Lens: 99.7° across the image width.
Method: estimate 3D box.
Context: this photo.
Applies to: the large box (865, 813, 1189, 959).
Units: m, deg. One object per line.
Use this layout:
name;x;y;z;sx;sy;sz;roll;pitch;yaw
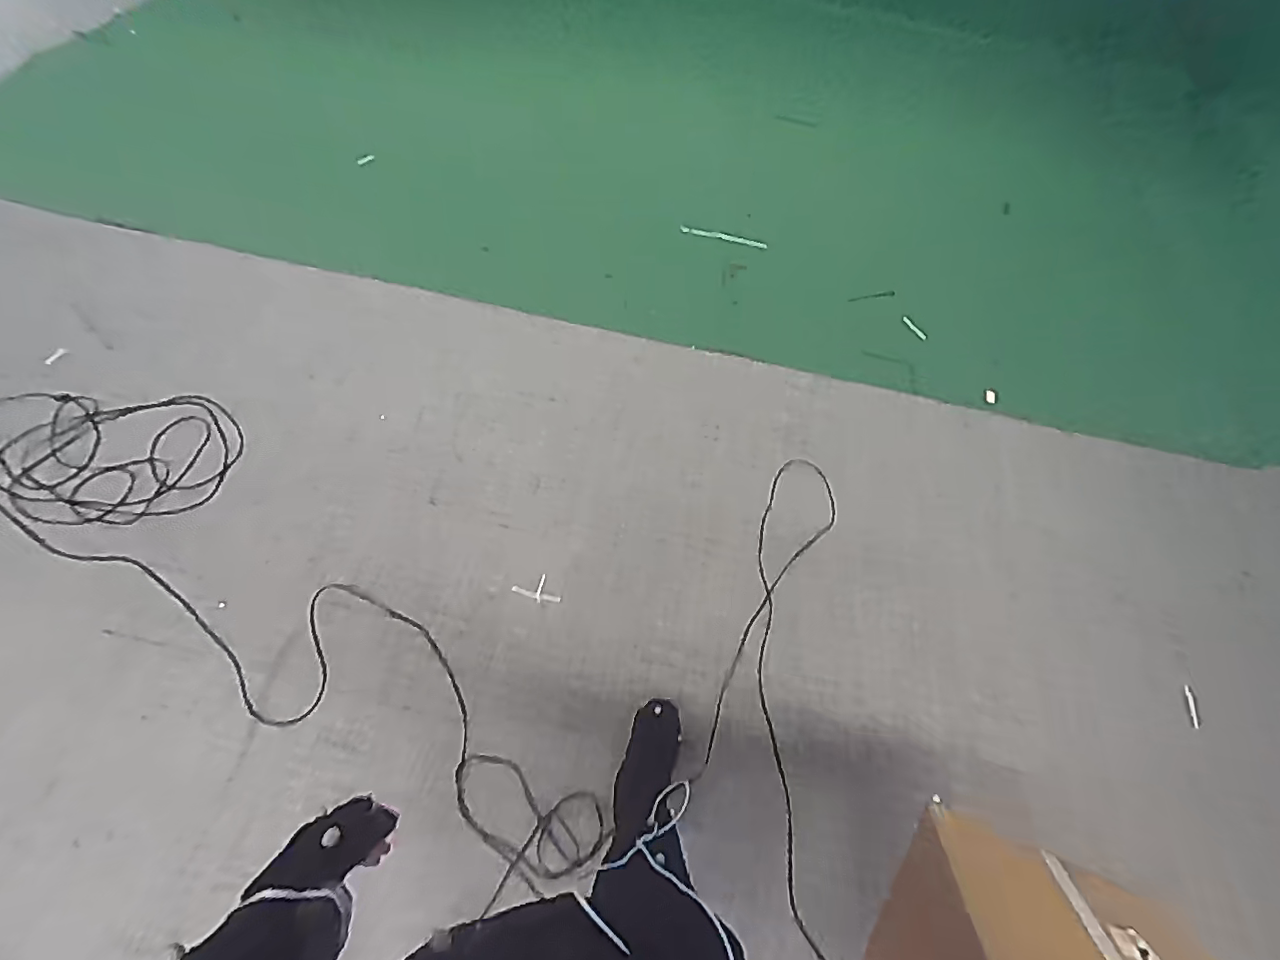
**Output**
large box;0.466;0.694;0.601;0.320;0.408;0.320;20;97;14
